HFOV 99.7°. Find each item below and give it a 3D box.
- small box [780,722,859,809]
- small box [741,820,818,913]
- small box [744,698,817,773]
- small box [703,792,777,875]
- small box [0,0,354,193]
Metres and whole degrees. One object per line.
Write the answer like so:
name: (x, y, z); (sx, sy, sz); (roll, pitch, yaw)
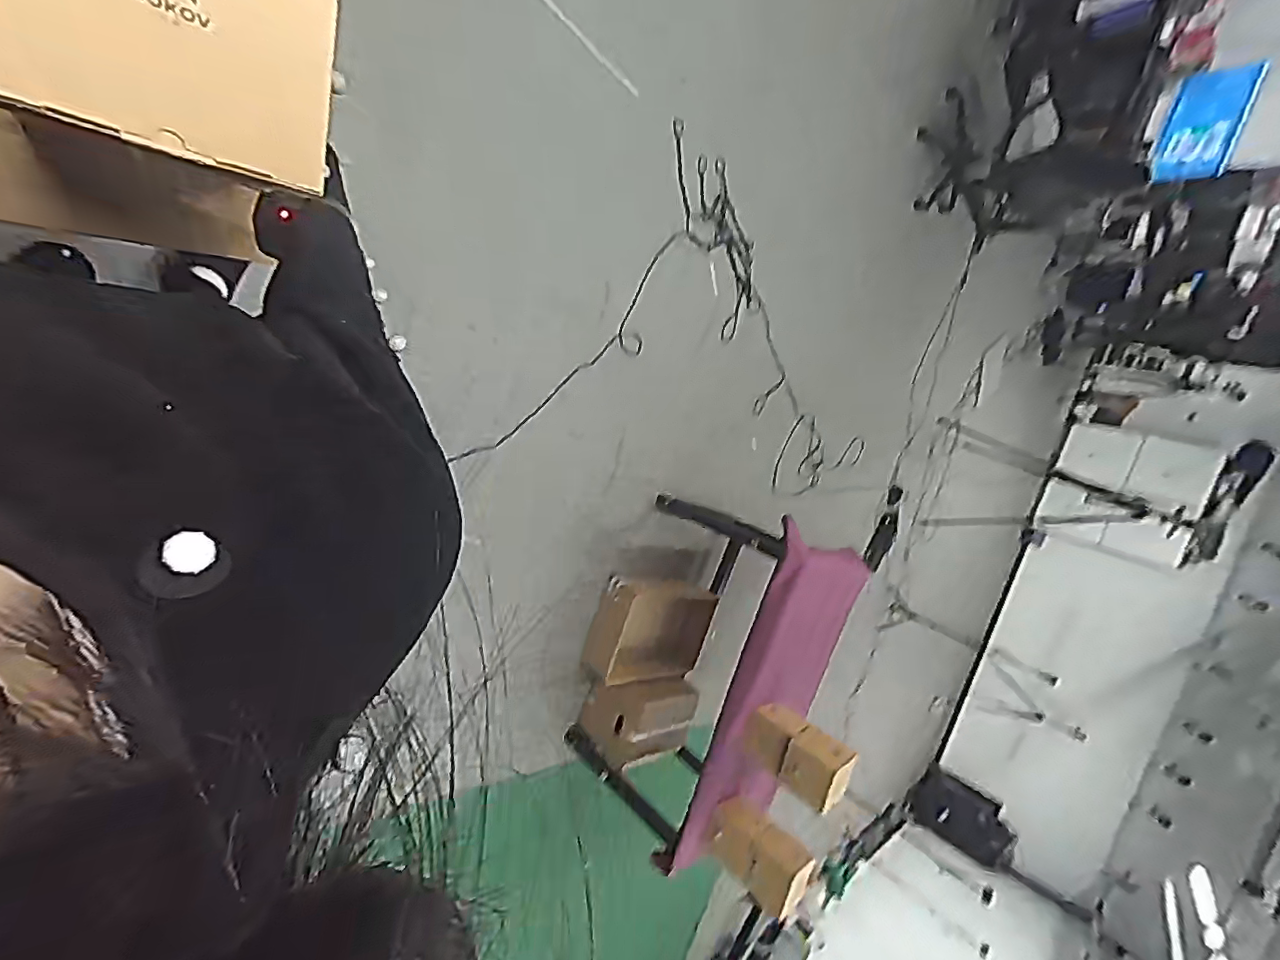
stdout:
small box: (0.600, 0.948, 1.815); (0.179, 0.176, 0.168); (2, 105, -46)
small box: (0.474, 1.307, 1.845); (0.179, 0.176, 0.168); (13, 96, -48)
small box: (0.500, 0.910, 1.943); (0.179, 0.176, 0.168); (11, 99, -47)
small box: (0.360, 1.265, 1.953); (0.179, 0.176, 0.168); (17, 94, -48)
small box: (-0.302, -0.313, 0.348); (0.168, 0.176, 0.179); (-1, 116, -45)
